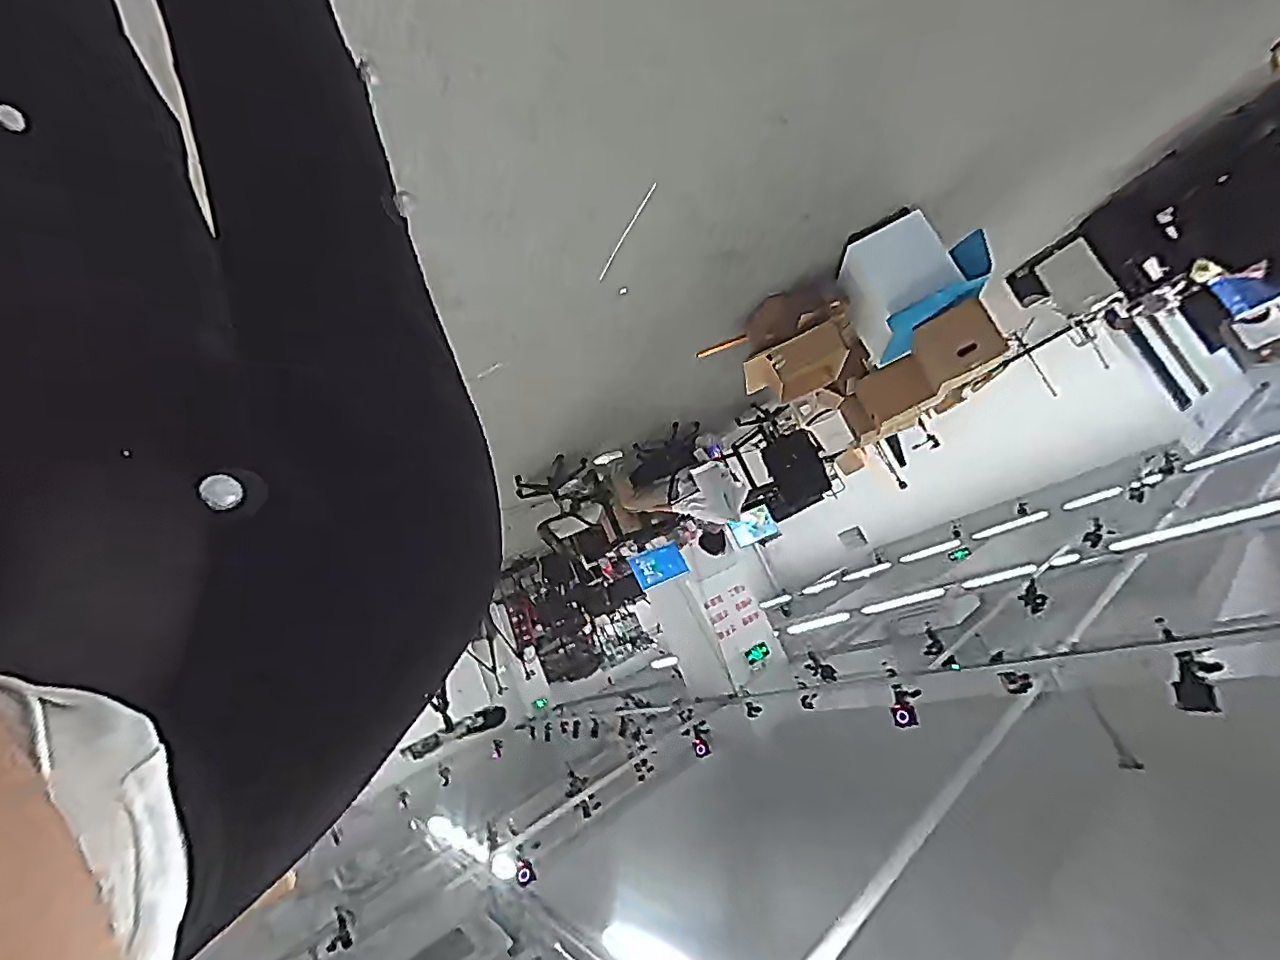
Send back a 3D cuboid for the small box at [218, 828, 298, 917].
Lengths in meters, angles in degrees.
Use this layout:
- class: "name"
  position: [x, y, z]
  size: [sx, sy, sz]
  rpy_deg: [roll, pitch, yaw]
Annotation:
- class: "small box"
  position: [-1.260, 1.284, 1.790]
  size: [0.179, 0.176, 0.168]
  rpy_deg: [-17, 166, -33]
